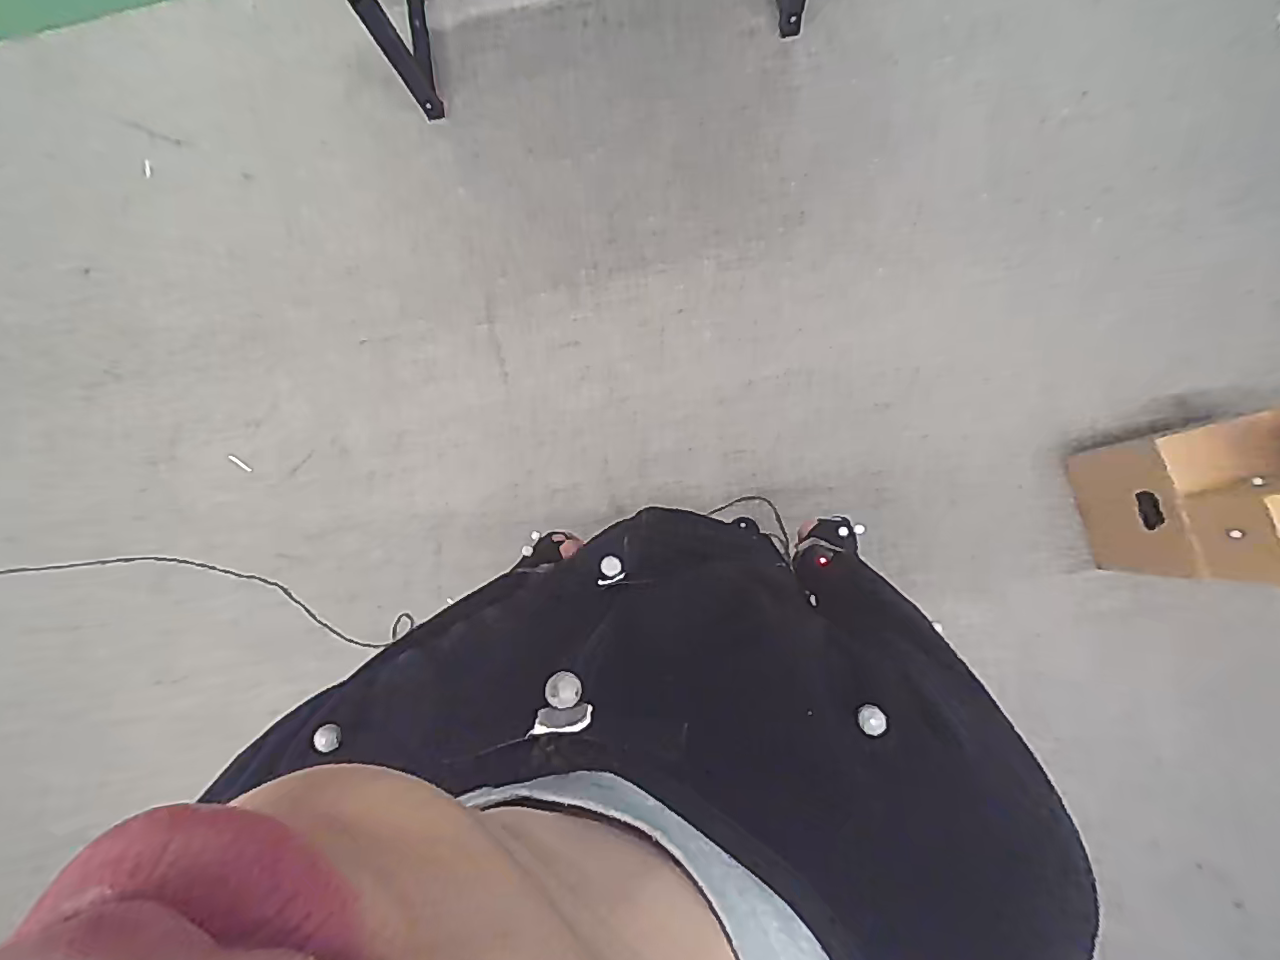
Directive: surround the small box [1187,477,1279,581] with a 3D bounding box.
[{"bbox_3d":[1.228,0.091,1.041,0.168,0.176,0.179,-16,85,5],"label":"small box"}]
